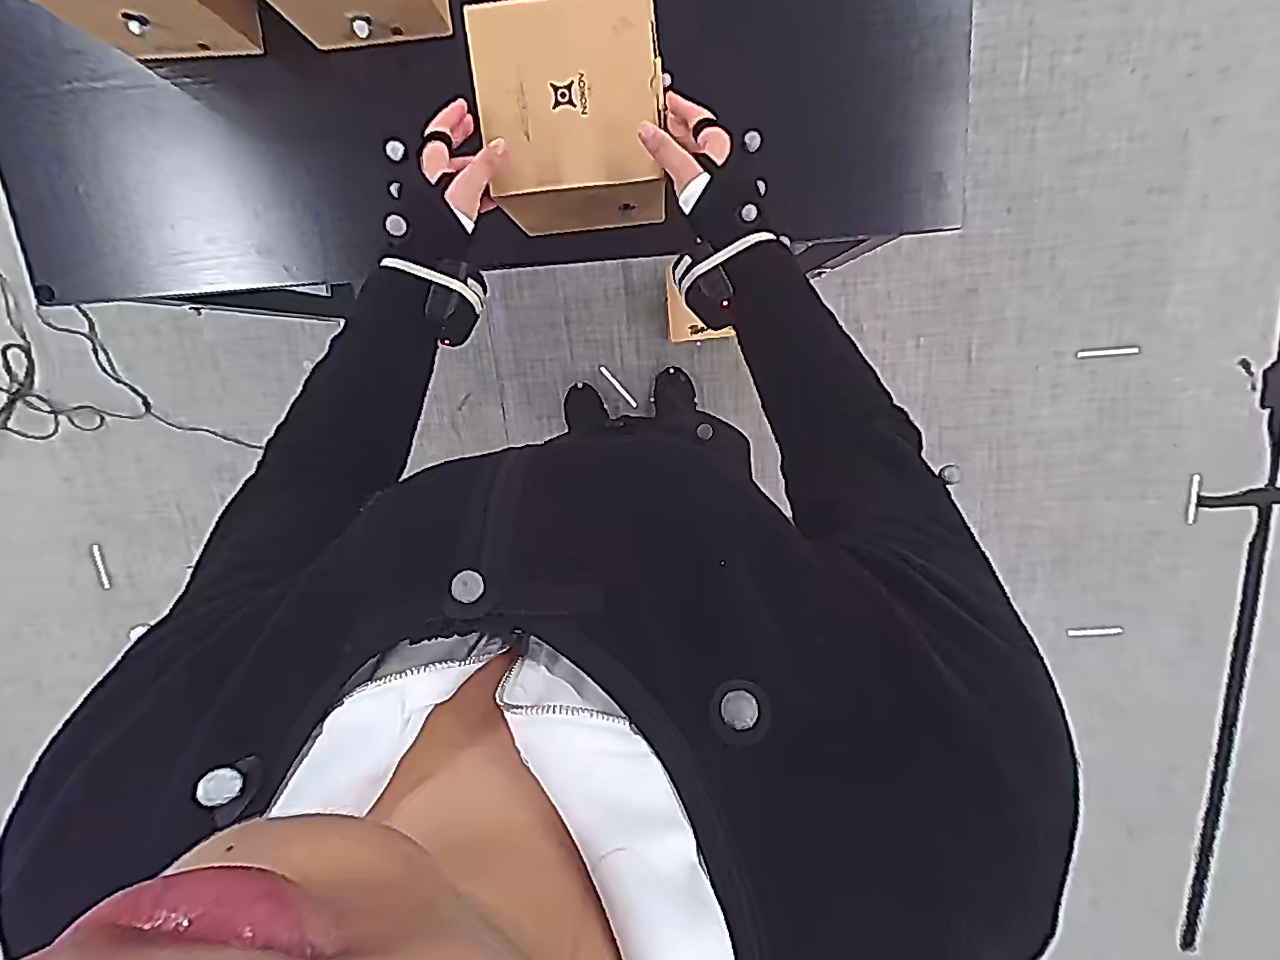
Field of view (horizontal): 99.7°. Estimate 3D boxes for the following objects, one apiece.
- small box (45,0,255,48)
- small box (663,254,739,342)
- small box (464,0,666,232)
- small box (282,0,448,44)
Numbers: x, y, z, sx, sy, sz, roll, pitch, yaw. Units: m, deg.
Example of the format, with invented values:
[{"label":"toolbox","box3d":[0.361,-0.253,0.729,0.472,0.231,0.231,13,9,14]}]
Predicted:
[{"label":"small box","box3d":[-0.536,-0.579,0.552,0.168,0.176,0.179,-2,103,1]},{"label":"small box","box3d":[0.145,-0.435,1.316,0.168,0.176,0.179,-5,102,3]},{"label":"small box","box3d":[-0.067,-0.383,0.587,0.179,0.176,0.168,-5,101,4]},{"label":"small box","box3d":[-0.312,-0.590,0.544,0.168,0.176,0.179,-4,104,2]}]
